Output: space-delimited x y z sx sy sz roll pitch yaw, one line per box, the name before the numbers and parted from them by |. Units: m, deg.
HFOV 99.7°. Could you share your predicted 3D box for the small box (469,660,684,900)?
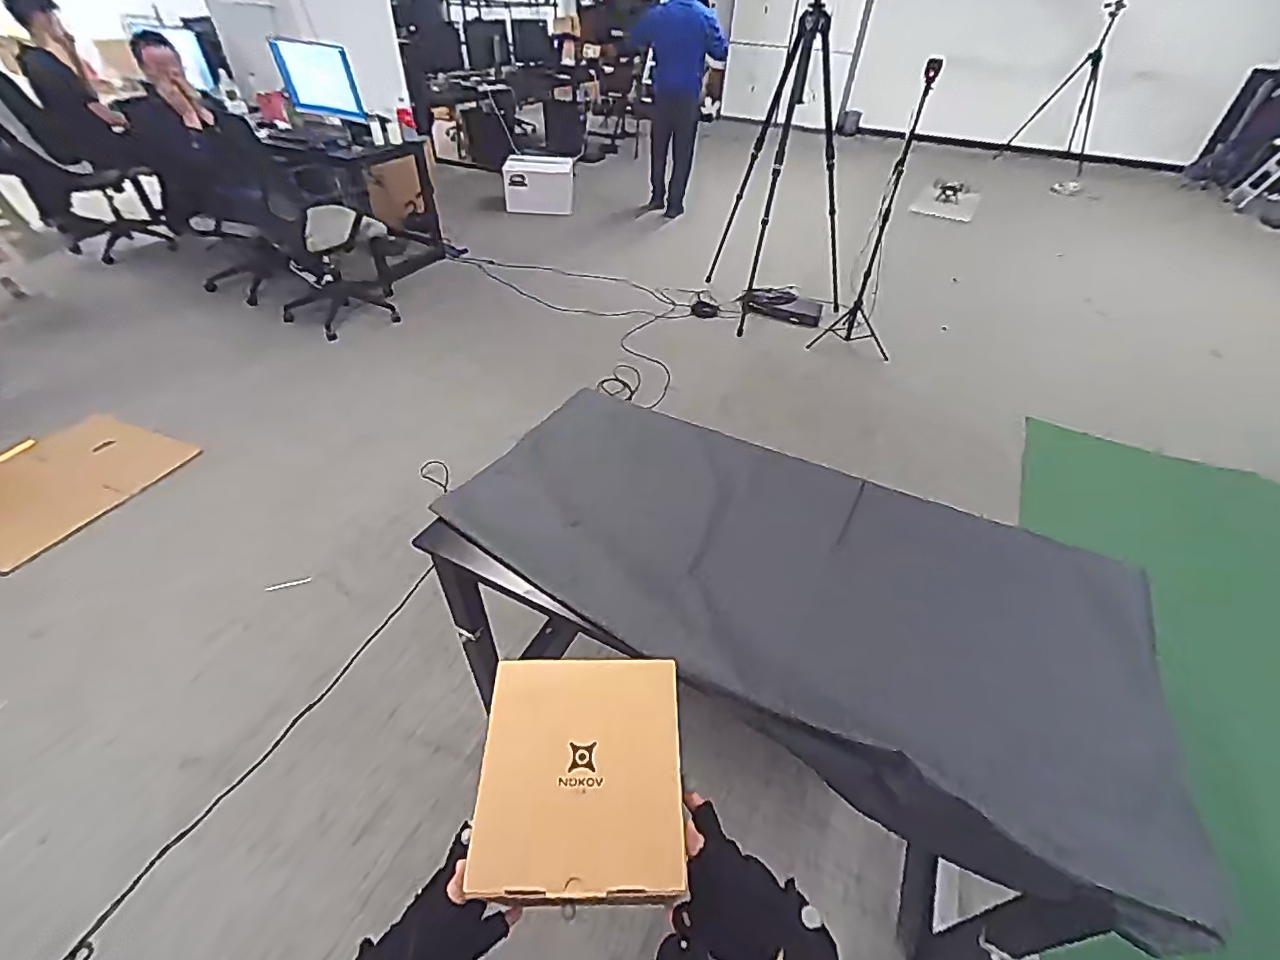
small box | -0.051 0.290 0.520 0.168 0.176 0.179 1 51 -2
